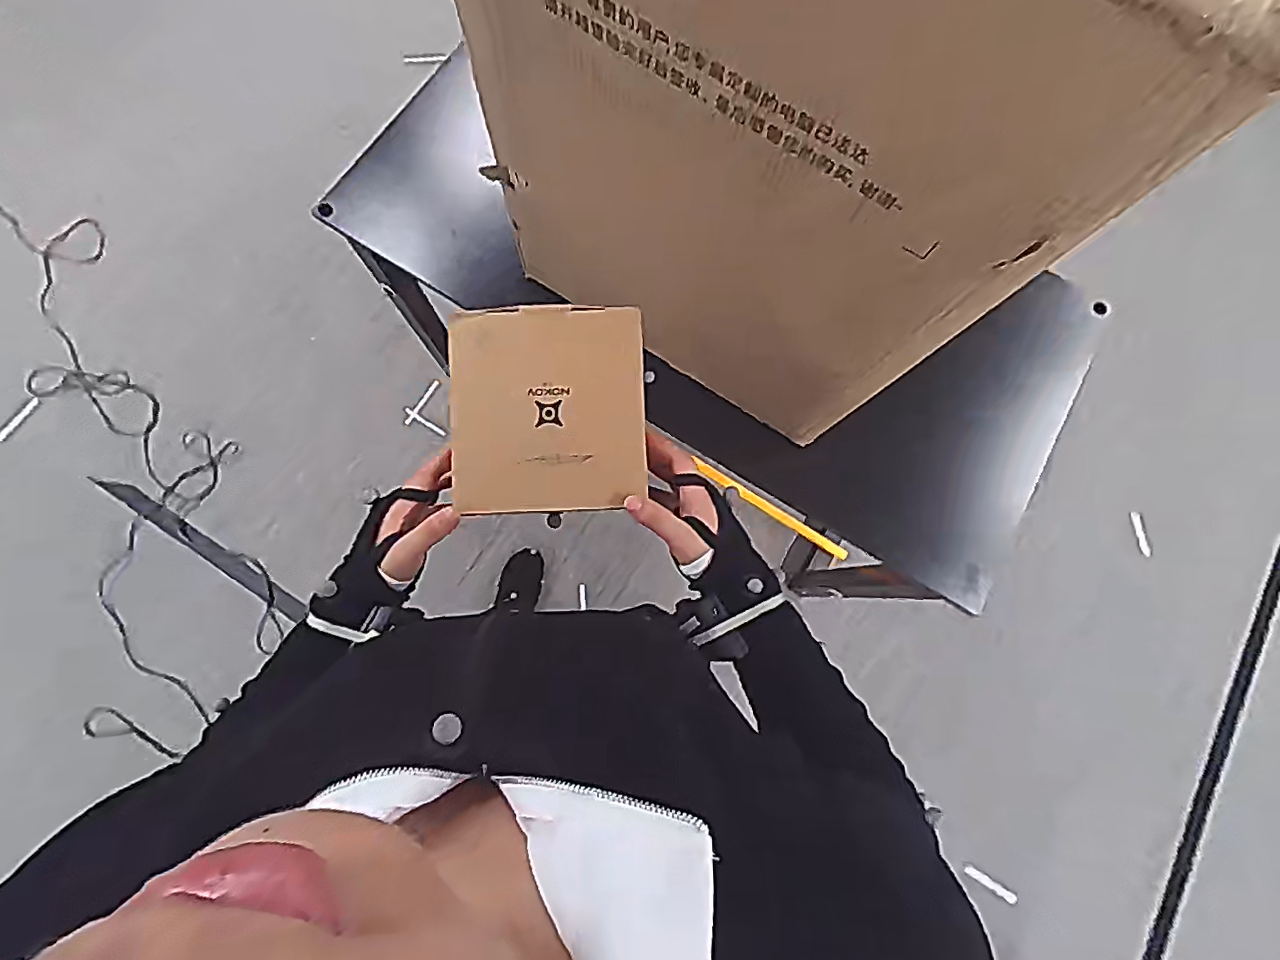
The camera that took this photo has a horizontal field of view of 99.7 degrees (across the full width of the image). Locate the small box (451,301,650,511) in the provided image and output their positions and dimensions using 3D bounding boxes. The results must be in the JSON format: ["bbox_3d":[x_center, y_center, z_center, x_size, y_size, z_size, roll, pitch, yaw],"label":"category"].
[{"bbox_3d":[-0.078,-0.059,0.529,0.168,0.176,0.179,-1,88,-3],"label":"small box"}]
